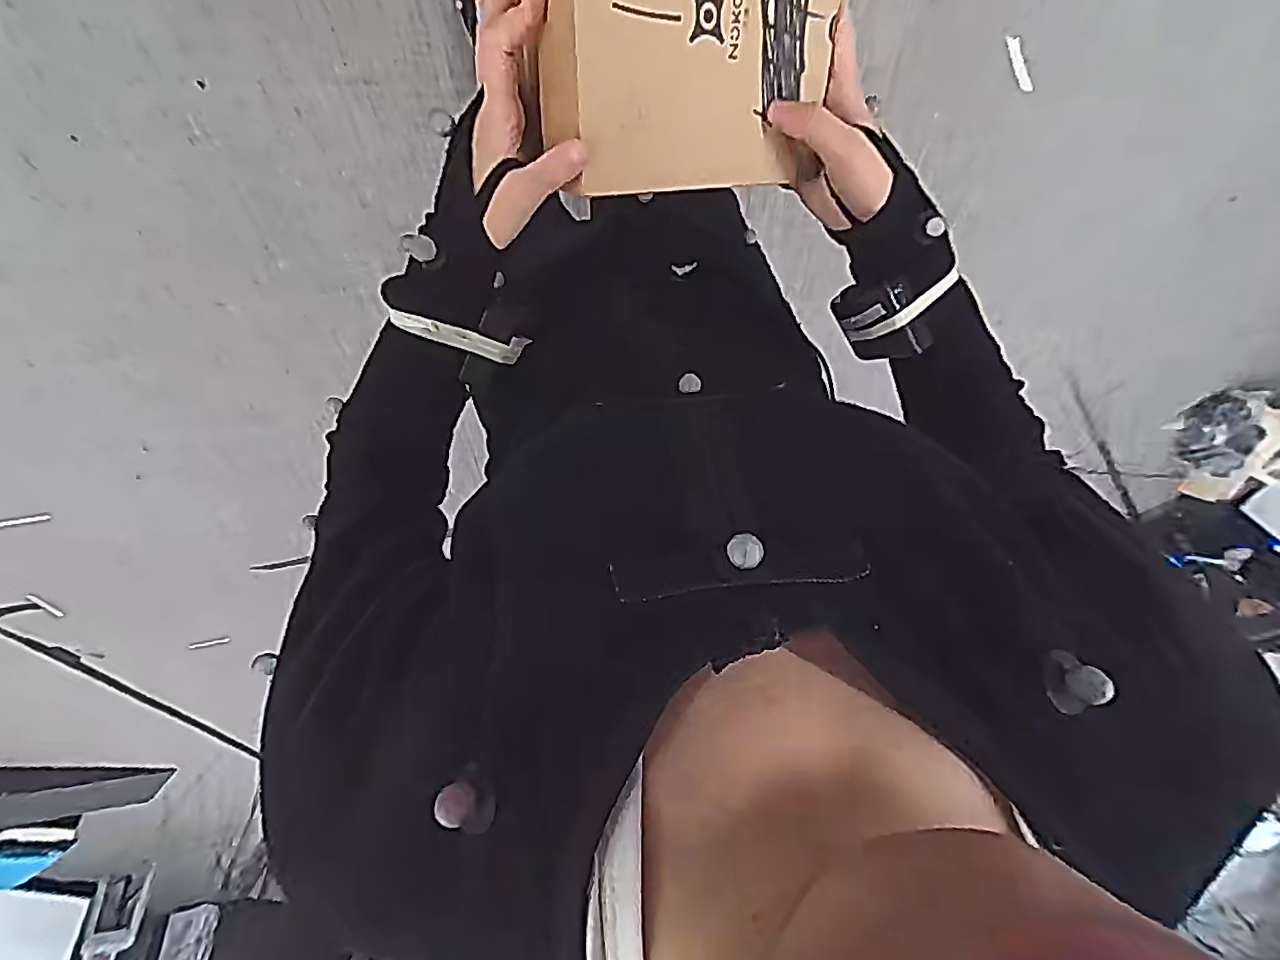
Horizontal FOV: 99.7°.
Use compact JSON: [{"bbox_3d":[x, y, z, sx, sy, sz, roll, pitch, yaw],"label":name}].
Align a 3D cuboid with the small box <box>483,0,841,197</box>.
[{"bbox_3d":[0.006,-0.292,0.355,0.179,0.176,0.168,-16,128,-23],"label":"small box"}]
